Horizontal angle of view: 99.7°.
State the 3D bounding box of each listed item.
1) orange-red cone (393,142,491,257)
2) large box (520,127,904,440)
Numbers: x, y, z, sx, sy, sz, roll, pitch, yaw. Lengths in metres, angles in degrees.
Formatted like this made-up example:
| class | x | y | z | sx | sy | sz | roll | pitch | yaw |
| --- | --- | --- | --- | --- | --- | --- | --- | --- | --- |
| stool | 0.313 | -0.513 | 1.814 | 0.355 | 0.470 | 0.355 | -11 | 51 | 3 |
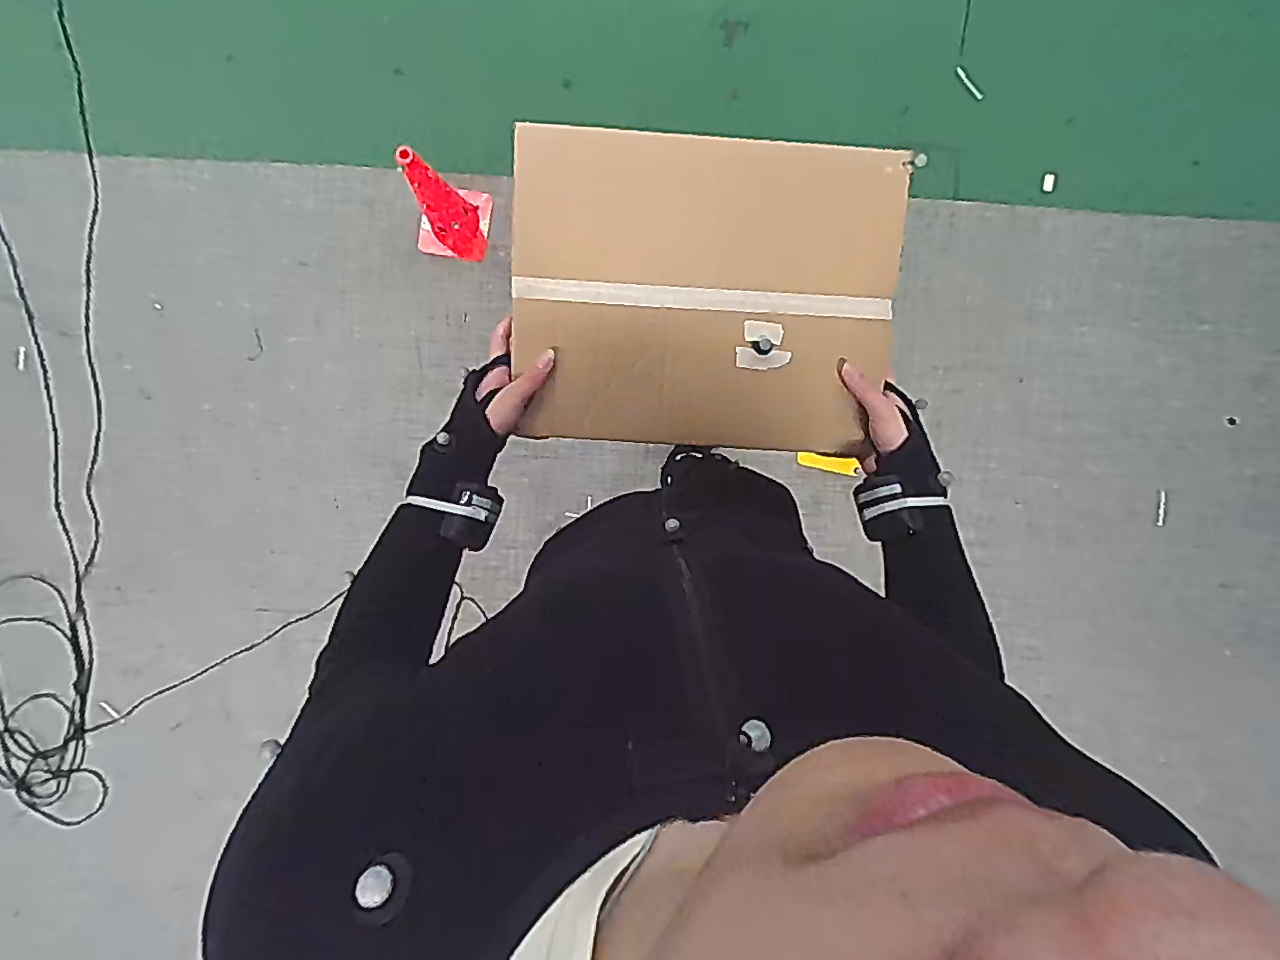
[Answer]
| class | x | y | z | sx | sy | sz | roll | pitch | yaw |
| --- | --- | --- | --- | --- | --- | --- | --- | --- | --- |
| orange-red cone | -0.551 | -0.761 | 1.418 | 0.199 | 0.360 | 0.198 | 10 | 91 | 1 |
| large box | 0.066 | -0.228 | 0.726 | 0.408 | 0.320 | 0.320 | 3 | 101 | -2 |
